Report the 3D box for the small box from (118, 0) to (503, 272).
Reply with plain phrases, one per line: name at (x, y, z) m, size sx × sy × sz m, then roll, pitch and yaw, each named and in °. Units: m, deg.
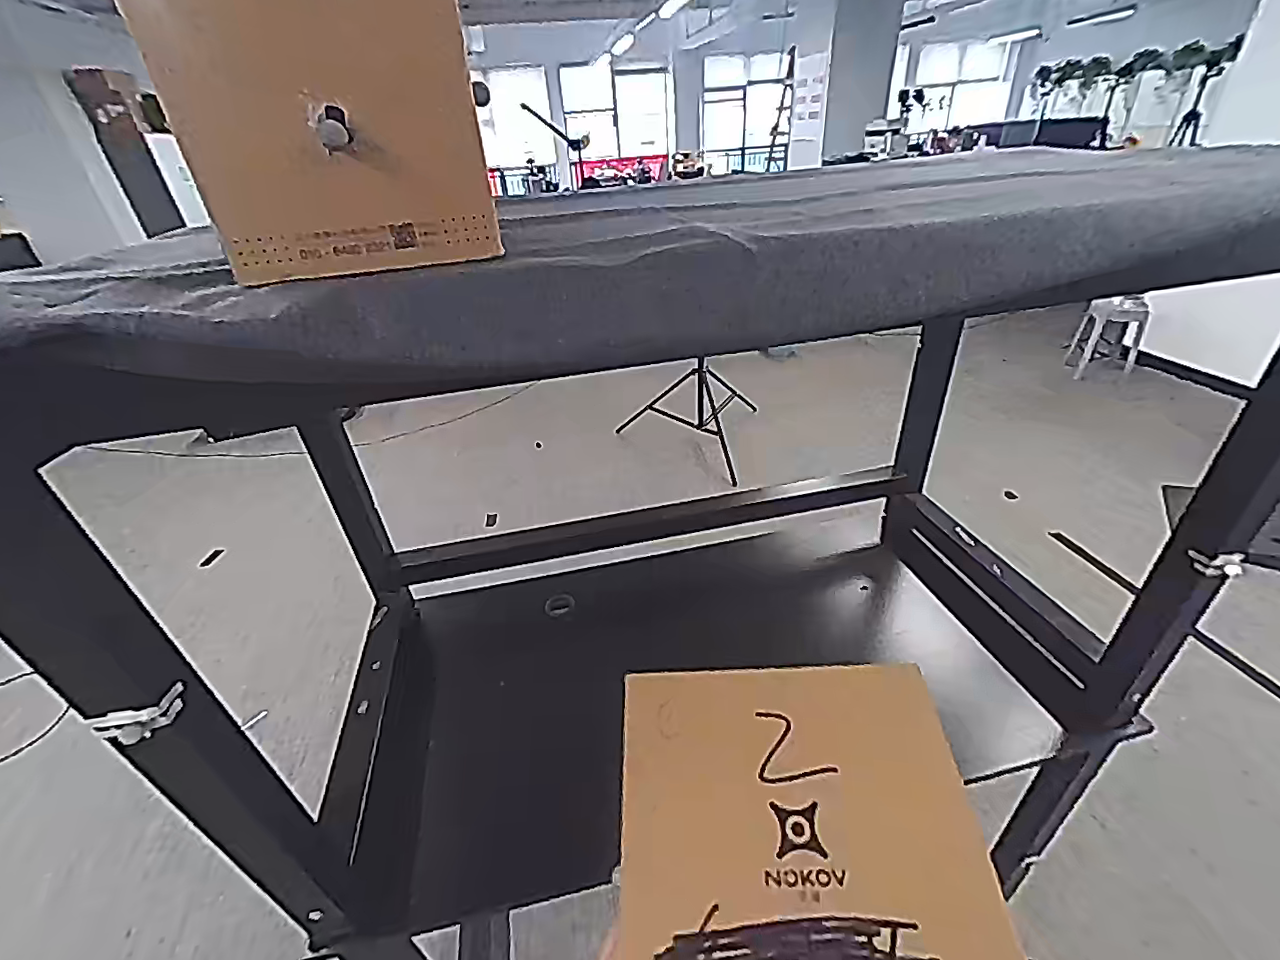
small box at (-0.196, -0.248, 0.376) m, size 0.168 × 0.176 × 0.179 m, roll -11°, pitch 32°, yaw -12°
